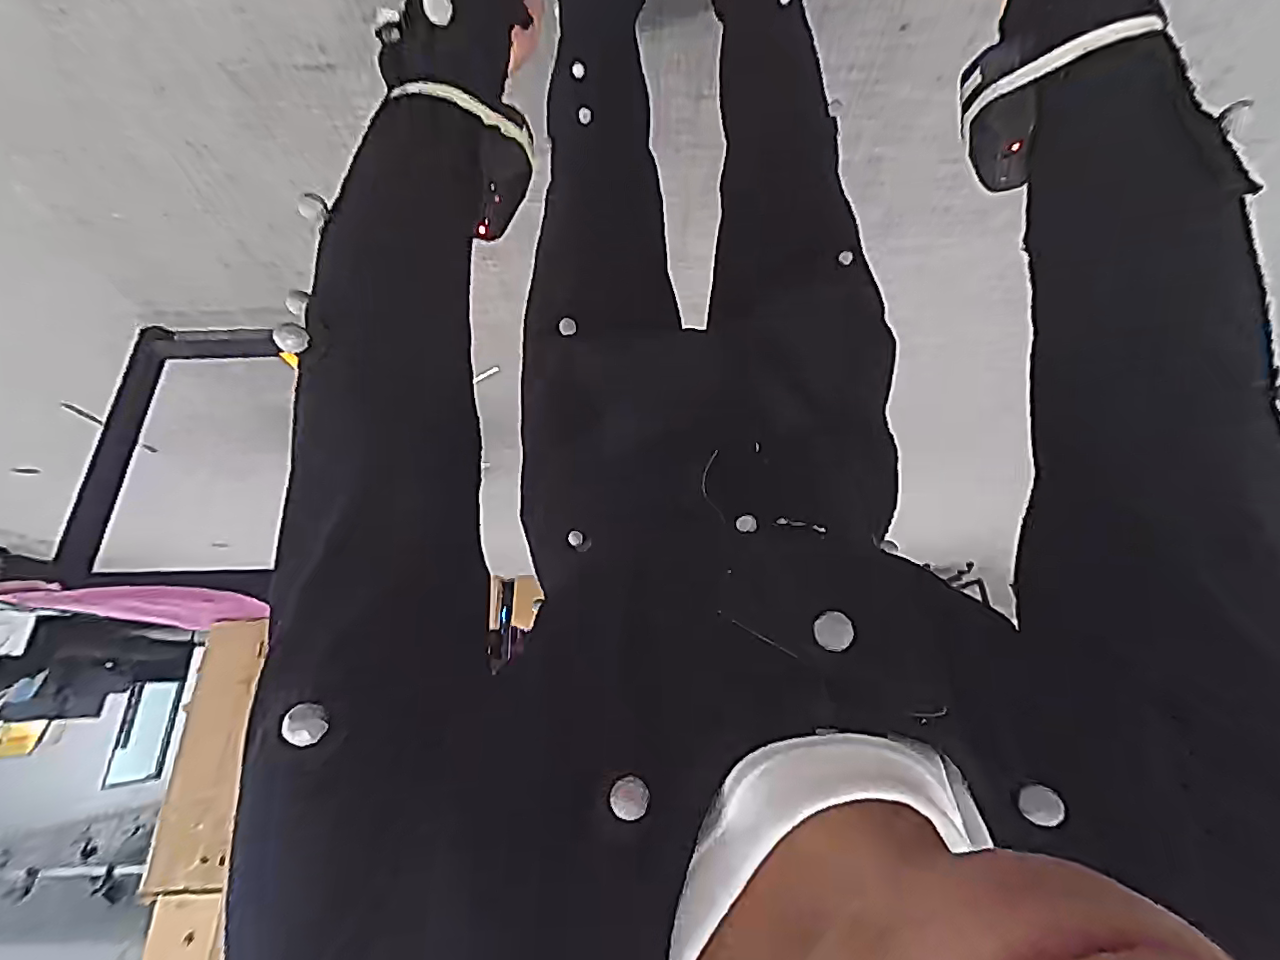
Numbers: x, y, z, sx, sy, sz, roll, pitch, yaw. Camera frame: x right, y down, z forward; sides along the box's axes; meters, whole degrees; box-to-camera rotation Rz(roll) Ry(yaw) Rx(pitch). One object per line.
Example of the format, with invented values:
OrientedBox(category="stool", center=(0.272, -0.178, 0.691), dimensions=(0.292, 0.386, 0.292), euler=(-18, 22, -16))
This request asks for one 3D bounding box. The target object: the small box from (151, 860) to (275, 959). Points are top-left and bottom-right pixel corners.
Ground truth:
OrientedBox(category="small box", center=(-1.050, 1.069, 1.338), dimensions=(0.168, 0.176, 0.179), euler=(-3, 161, 4))
